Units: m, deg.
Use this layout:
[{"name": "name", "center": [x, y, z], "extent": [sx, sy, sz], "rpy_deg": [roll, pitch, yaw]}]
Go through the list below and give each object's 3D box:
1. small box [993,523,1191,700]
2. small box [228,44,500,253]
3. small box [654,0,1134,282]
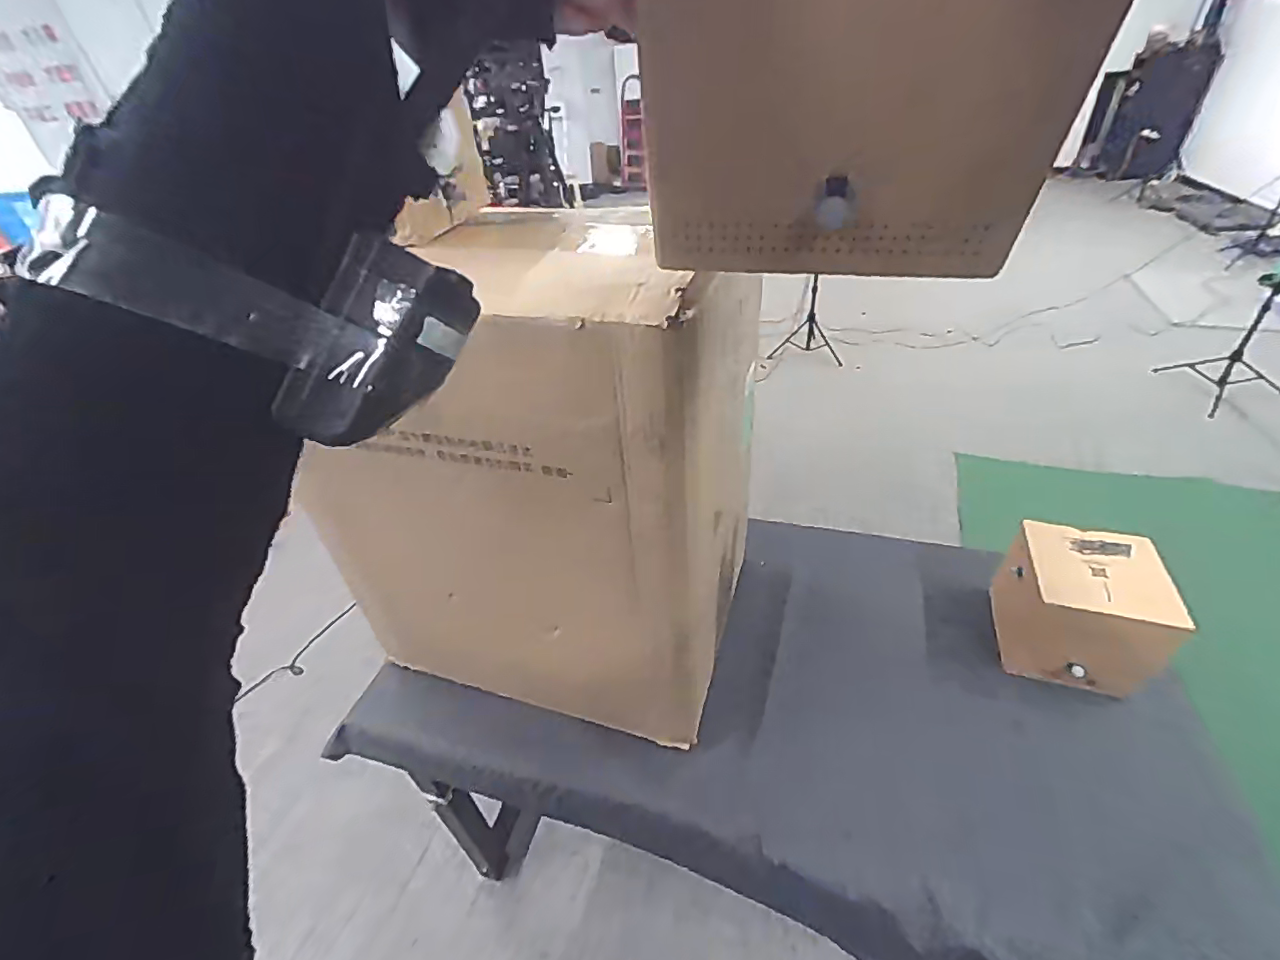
[{"name": "small box", "center": [0.660, 0.195, 0.821], "extent": [0.168, 0.176, 0.179], "rpy_deg": [9, 40, 19]}, {"name": "small box", "center": [-0.283, -0.364, 0.600], "extent": [0.179, 0.176, 0.168], "rpy_deg": [6, 43, 13]}, {"name": "small box", "center": [0.108, -0.219, 0.272], "extent": [0.179, 0.176, 0.168], "rpy_deg": [6, 55, 10]}]
